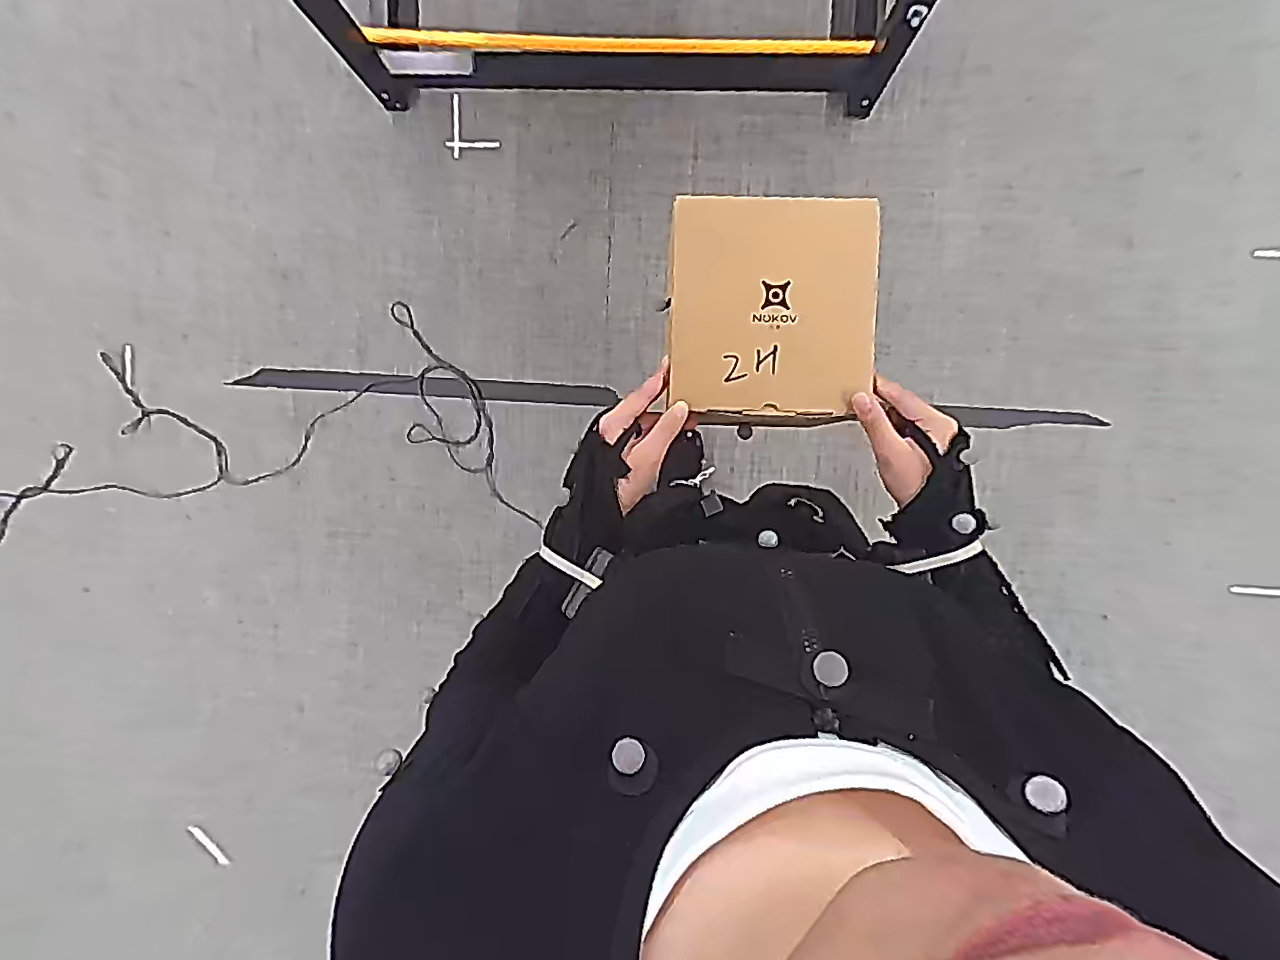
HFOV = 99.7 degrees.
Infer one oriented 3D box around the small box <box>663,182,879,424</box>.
[{"bbox_3d":[0.109,-0.151,0.515,0.168,0.176,0.179,2,91,2],"label":"small box"}]
